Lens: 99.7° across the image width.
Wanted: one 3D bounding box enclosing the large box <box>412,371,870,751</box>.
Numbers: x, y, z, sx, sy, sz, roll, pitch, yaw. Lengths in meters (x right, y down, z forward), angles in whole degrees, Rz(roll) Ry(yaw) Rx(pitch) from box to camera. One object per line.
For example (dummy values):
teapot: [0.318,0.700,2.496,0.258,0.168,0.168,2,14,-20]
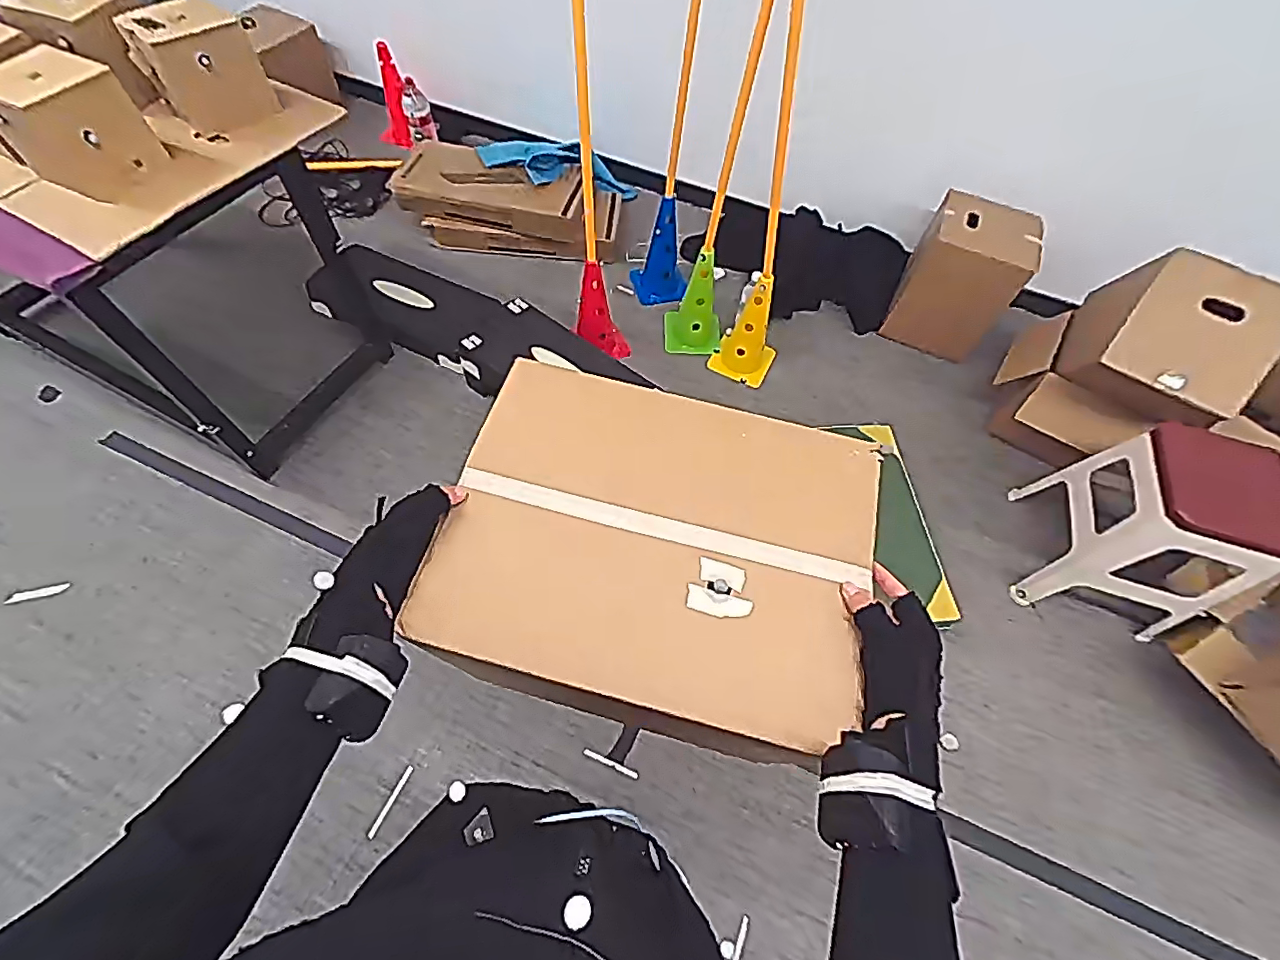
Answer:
large box: [0.013,0.117,0.664,0.408,0.320,0.320,14,64,3]
